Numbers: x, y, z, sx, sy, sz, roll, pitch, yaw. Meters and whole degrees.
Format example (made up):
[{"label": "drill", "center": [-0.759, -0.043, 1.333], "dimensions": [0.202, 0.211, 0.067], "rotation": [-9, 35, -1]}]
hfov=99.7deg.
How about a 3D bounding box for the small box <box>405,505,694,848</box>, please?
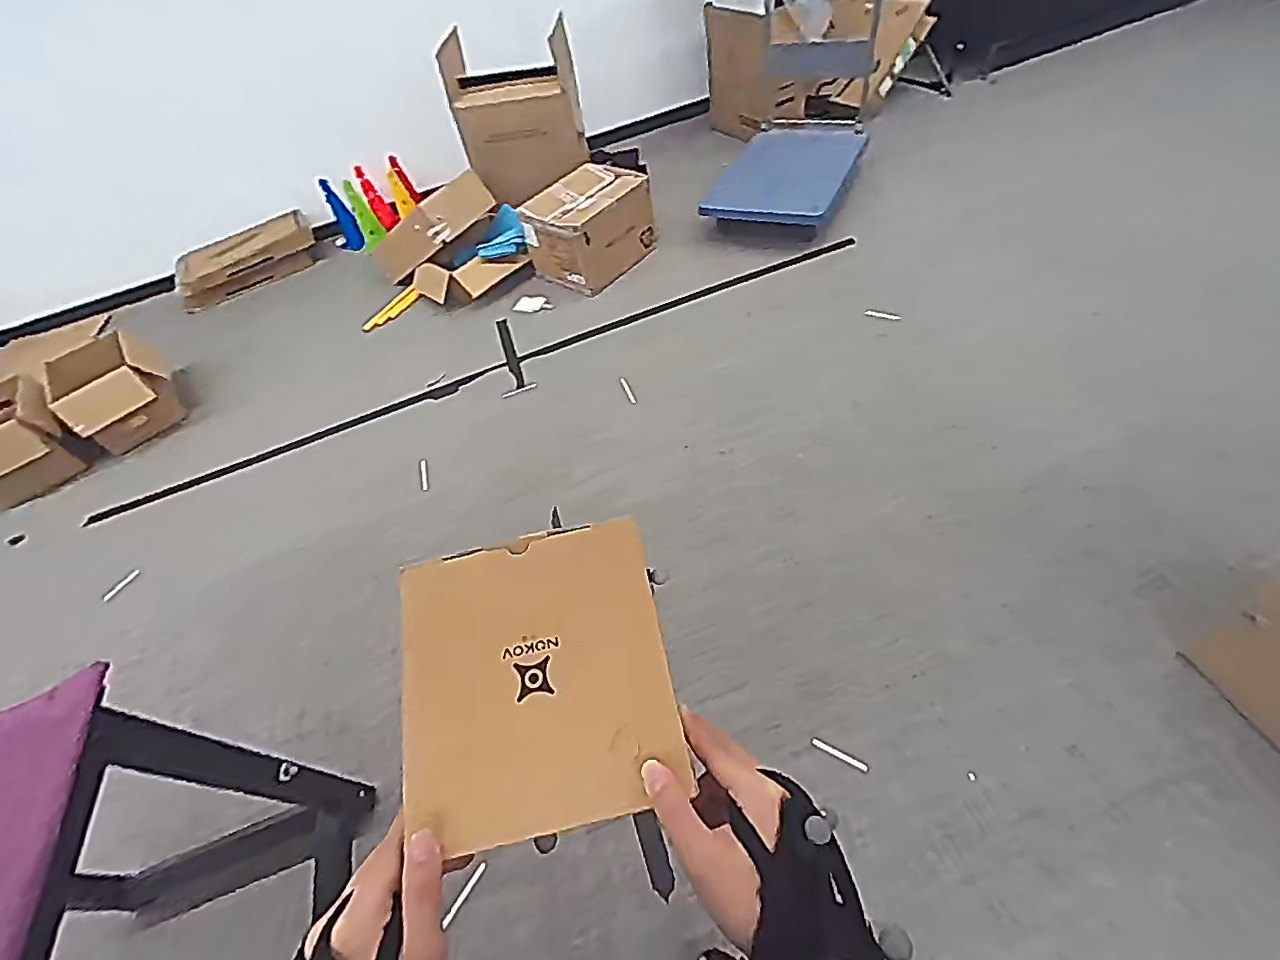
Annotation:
[{"label": "small box", "center": [-0.058, 0.145, 0.408], "dimensions": [0.168, 0.176, 0.179], "rotation": [-13, 63, -2]}]
